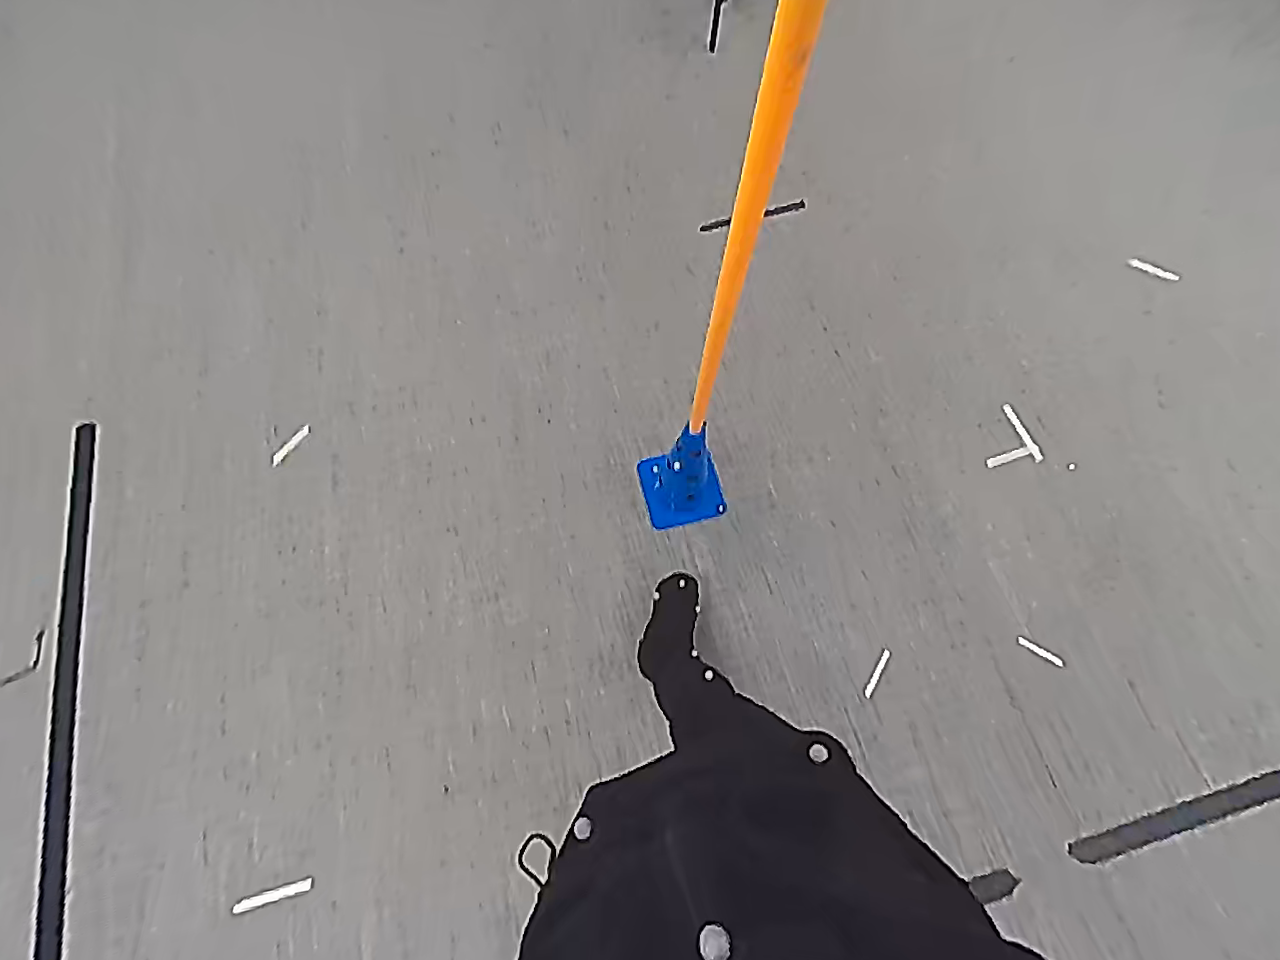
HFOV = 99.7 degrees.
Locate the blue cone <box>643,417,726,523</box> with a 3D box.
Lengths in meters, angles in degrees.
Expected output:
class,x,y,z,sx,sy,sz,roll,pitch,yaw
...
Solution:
class,x,y,z,sx,sy,sz,roll,pitch,yaw
blue cone,0.115,-0.045,1.252,0.192,0.380,0.193,-11,70,-6
